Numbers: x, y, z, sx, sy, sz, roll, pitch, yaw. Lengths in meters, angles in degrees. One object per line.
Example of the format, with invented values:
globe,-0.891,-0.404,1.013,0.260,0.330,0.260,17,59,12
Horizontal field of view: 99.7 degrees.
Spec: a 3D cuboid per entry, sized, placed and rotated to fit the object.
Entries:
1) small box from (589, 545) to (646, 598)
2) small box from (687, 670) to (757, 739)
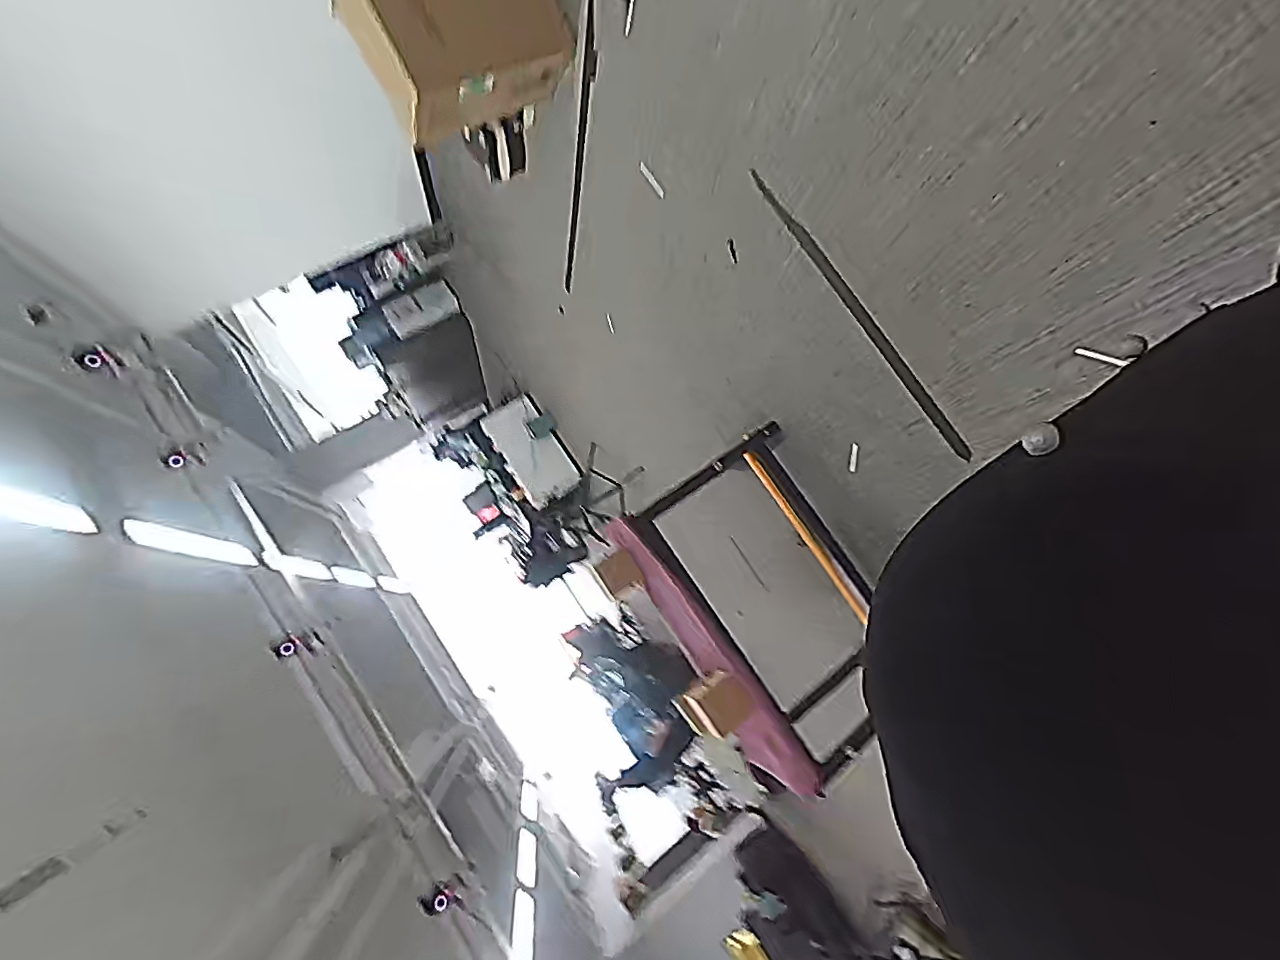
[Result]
small box,-0.099,0.397,2.375,0.179,0.176,0.168,56,163,5
small box,0.308,0.839,2.039,0.179,0.176,0.168,54,164,10
